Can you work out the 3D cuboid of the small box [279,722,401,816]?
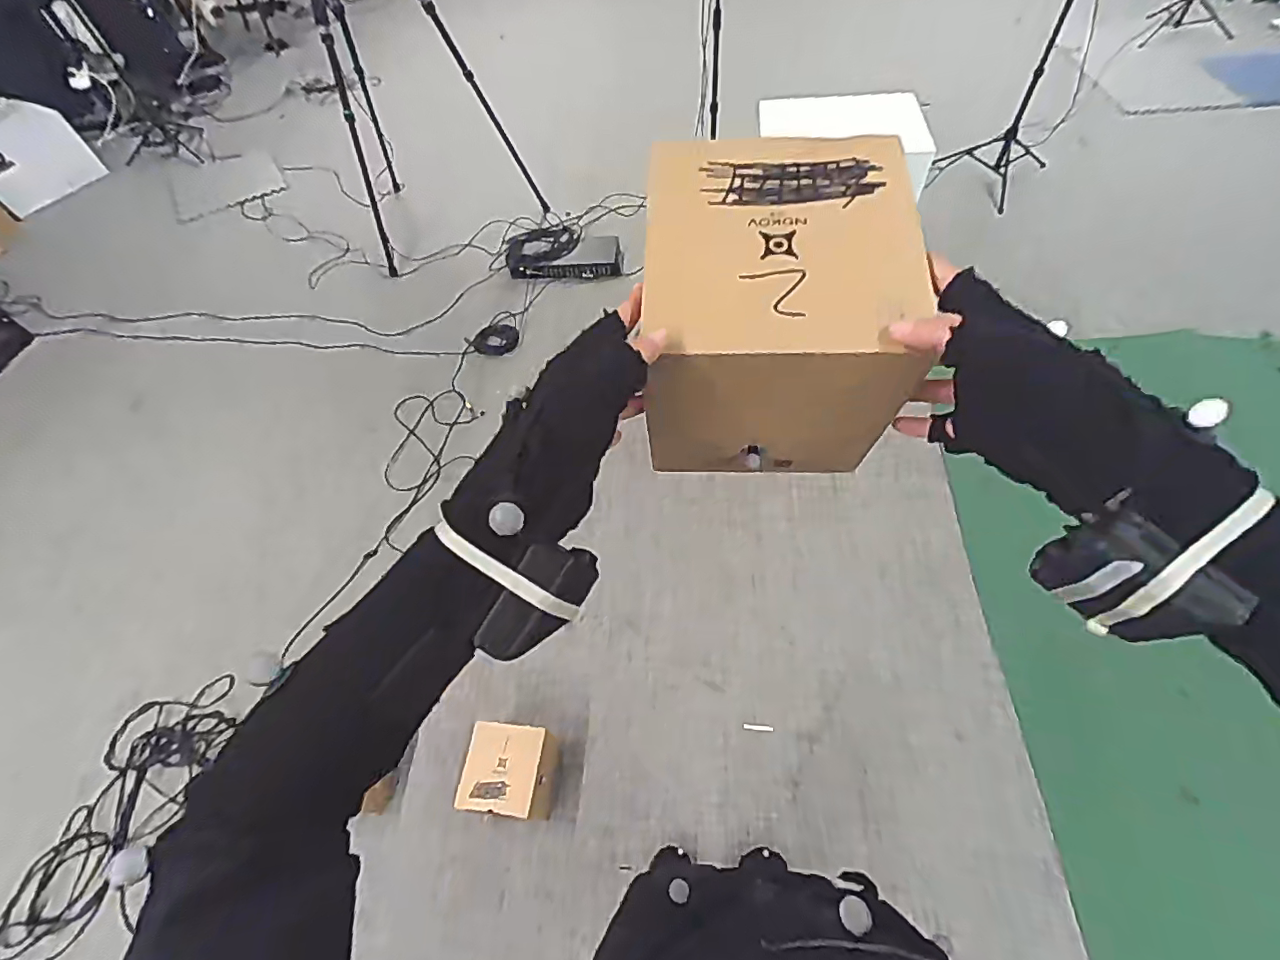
[{"bbox_3d":[-0.690,0.682,1.272,0.168,0.176,0.179,-1,56,6],"label":"small box"}]

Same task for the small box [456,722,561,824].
[{"bbox_3d":[-0.288,0.672,1.235,0.168,0.176,0.179,3,56,8],"label":"small box"}]
